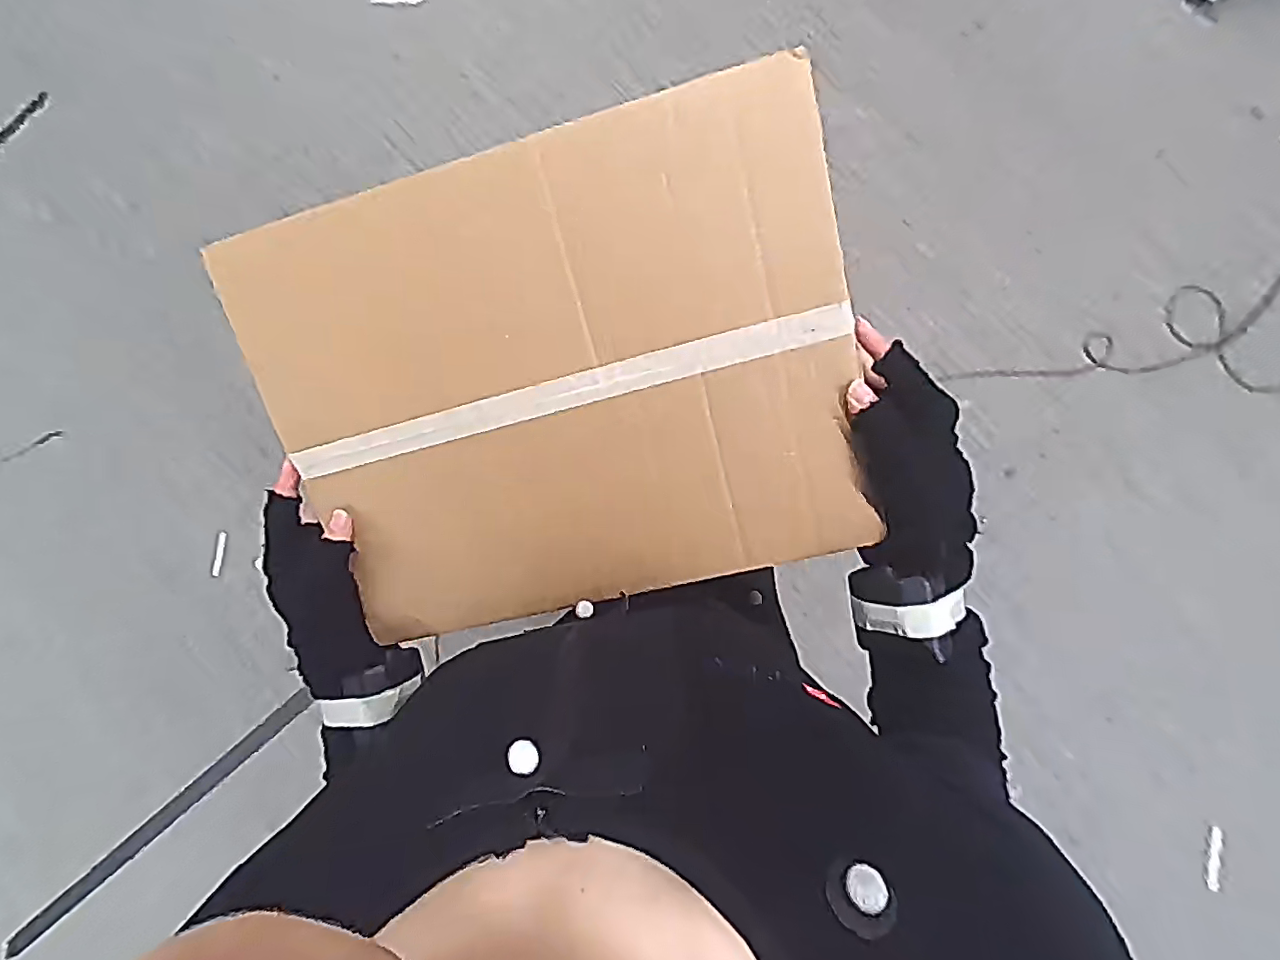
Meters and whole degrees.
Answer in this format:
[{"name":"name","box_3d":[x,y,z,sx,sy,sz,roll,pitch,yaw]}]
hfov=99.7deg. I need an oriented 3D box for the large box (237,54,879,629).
[{"name":"large box","box_3d":[-0.045,-0.103,0.526,0.408,0.320,0.320,-13,105,8]}]
